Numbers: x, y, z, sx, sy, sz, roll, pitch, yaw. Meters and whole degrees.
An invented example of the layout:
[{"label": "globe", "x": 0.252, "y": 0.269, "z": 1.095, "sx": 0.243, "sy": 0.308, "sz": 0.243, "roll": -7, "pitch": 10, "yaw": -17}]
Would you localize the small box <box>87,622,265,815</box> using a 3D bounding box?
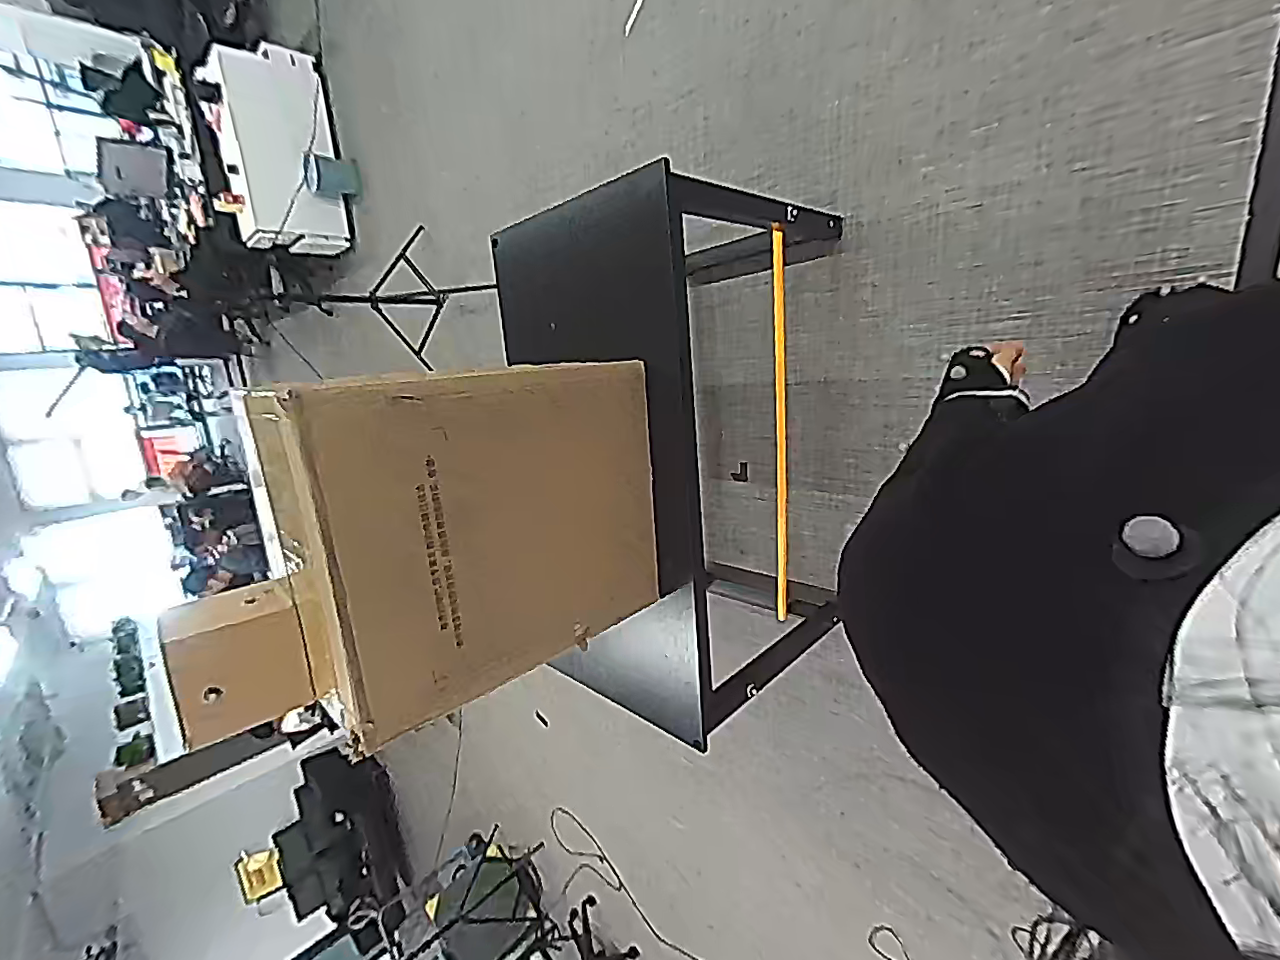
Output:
[{"label": "small box", "x": -0.690, "y": 0.344, "z": 0.817, "sx": 0.168, "sy": 0.176, "sz": 0.179, "roll": 10, "pitch": 108, "yaw": 46}]
